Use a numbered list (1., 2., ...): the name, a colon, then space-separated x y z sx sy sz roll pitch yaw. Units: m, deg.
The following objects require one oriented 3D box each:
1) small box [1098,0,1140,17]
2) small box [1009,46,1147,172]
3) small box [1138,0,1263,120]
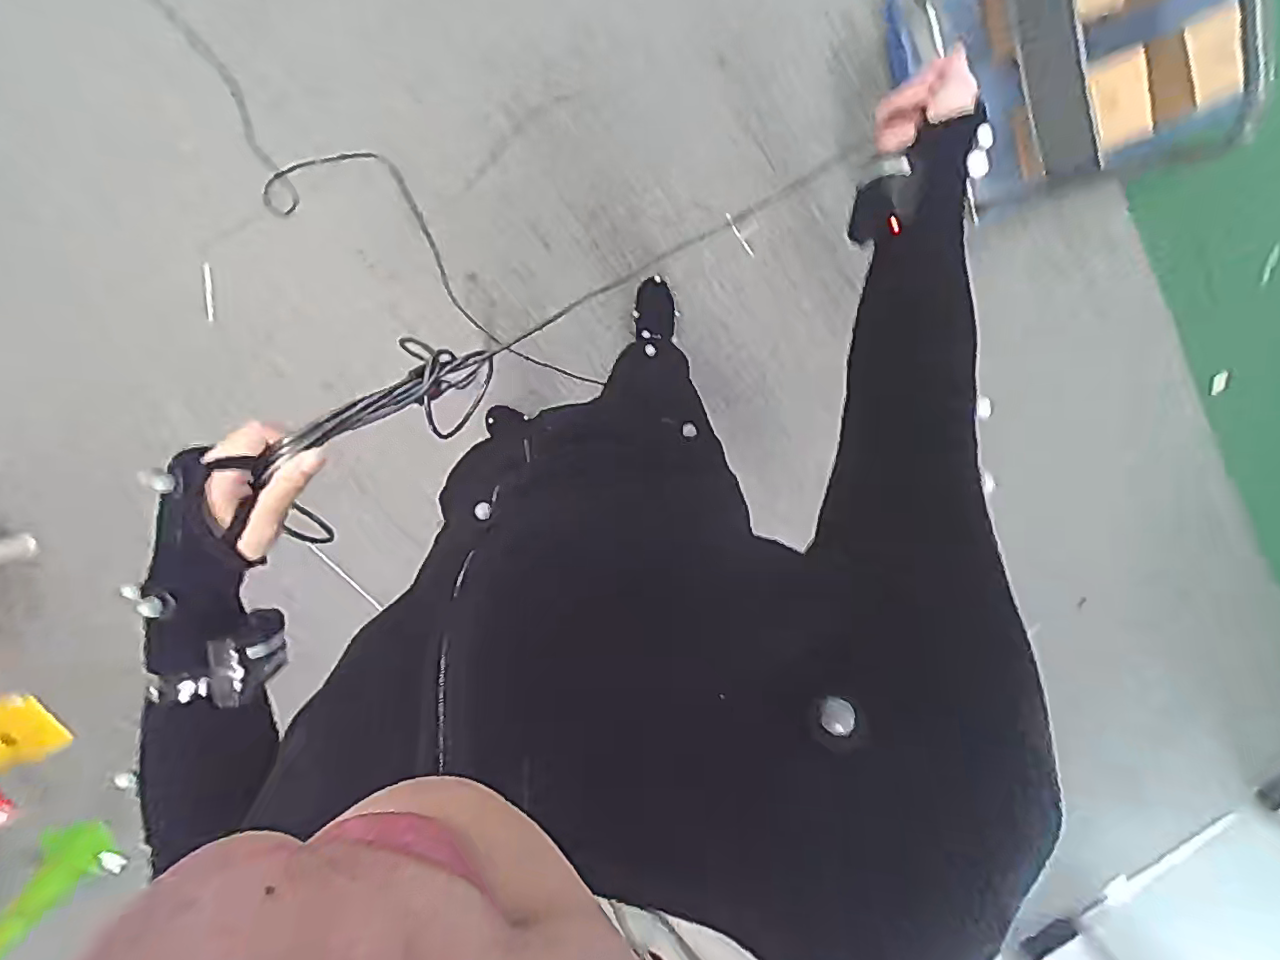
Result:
1. small box: 1.142 -1.178 1.184 0.179 0.176 0.168 -29 107 2
2. small box: 1.015 -0.854 1.261 0.179 0.176 0.168 -24 107 1
3. small box: 1.260 -0.968 1.254 0.179 0.176 0.168 -28 105 3
